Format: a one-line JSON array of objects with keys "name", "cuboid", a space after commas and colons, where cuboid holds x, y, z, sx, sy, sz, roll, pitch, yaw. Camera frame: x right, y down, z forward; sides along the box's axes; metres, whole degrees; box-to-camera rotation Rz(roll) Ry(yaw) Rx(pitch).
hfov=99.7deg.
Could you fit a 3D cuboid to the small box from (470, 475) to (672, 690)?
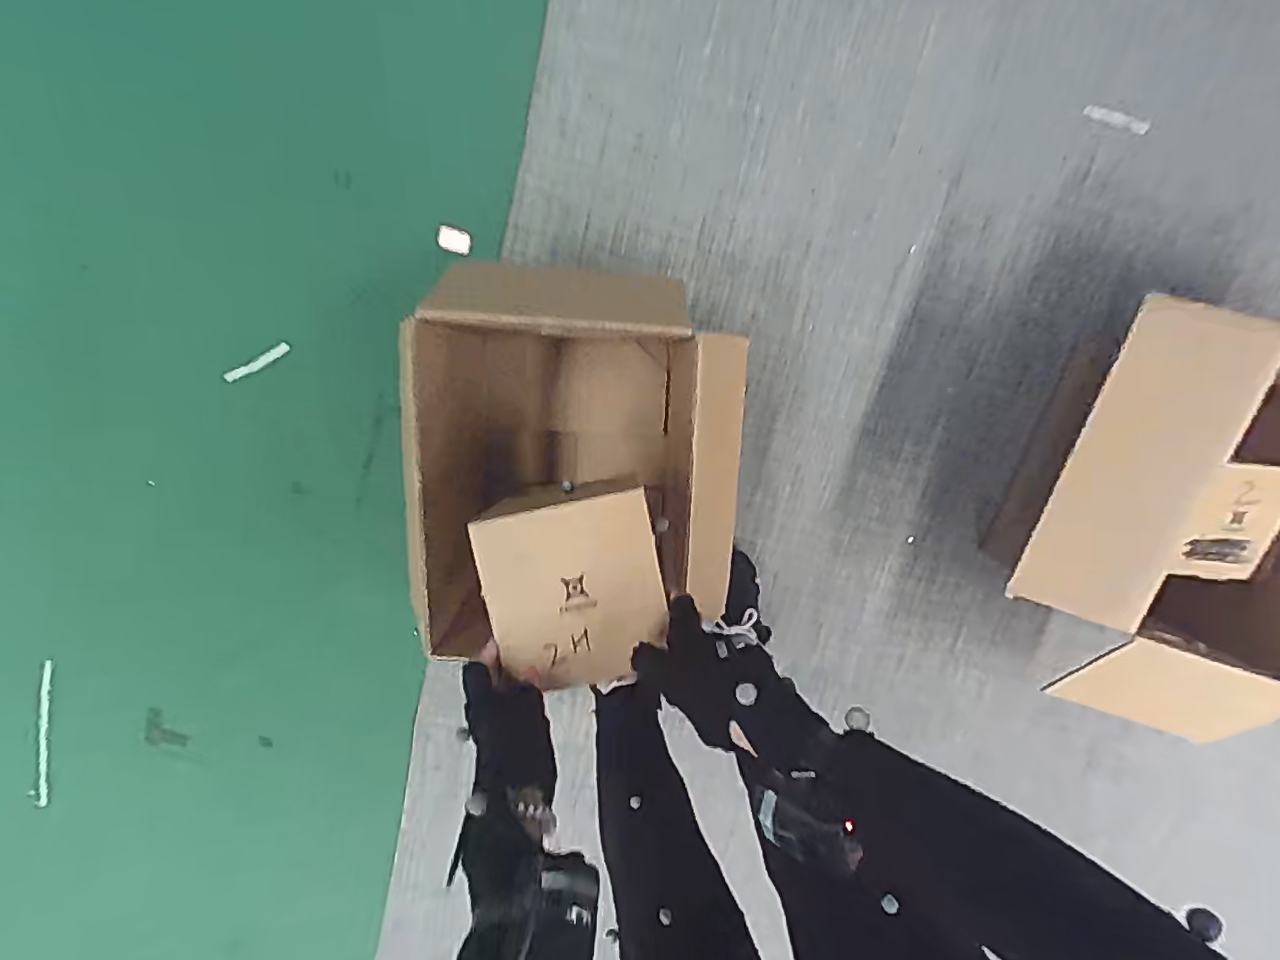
[{"name": "small box", "cuboid": [-0.067, 0.094, 0.586, 0.168, 0.176, 0.179, -11, 97, -1]}]
